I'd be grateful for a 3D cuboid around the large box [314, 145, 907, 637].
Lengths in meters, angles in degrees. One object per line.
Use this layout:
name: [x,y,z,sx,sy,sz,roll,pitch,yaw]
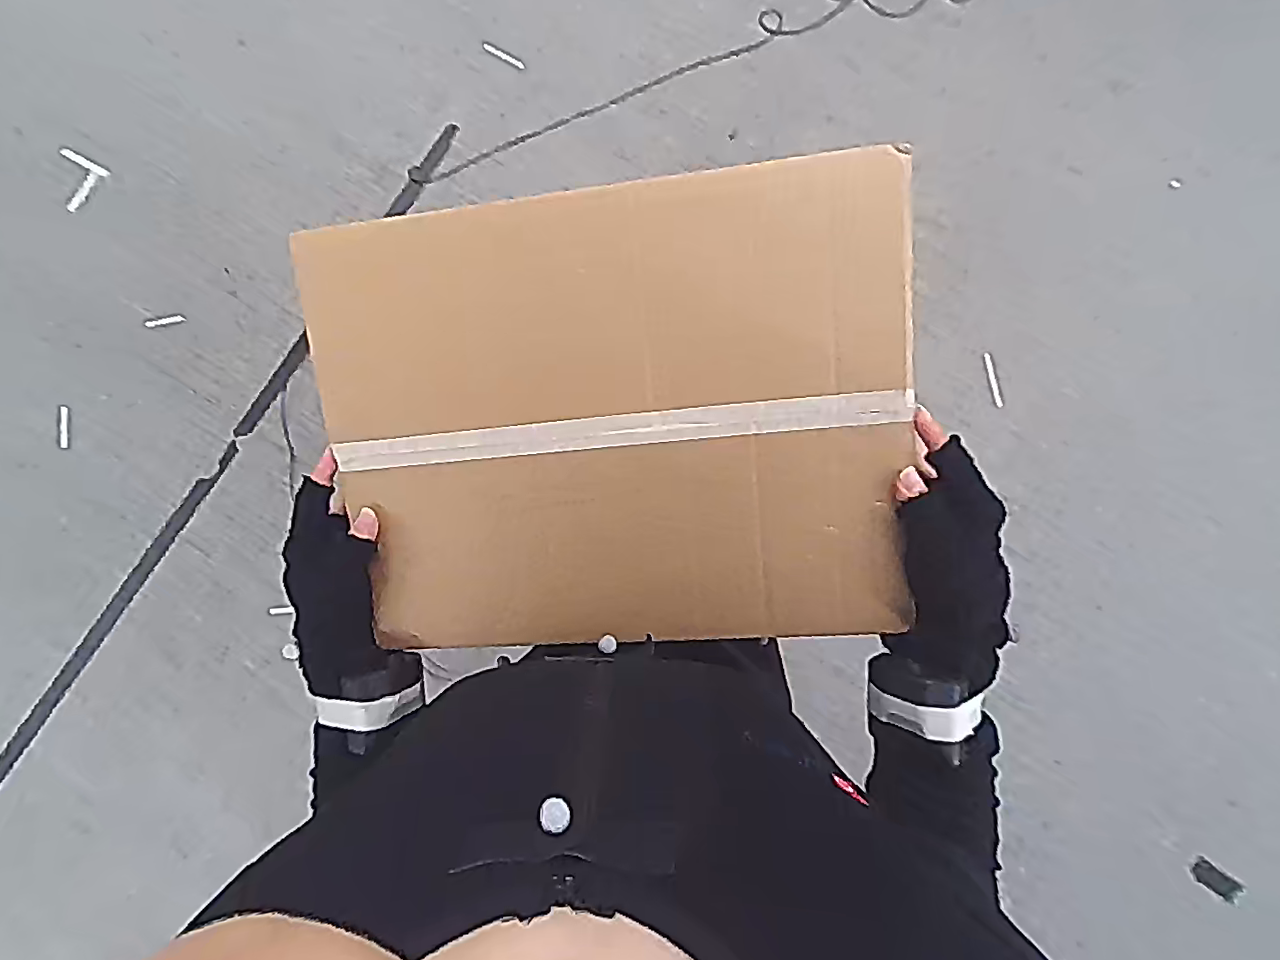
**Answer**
large box: [-0.006,-0.068,0.528,0.408,0.320,0.320,-4,102,8]
